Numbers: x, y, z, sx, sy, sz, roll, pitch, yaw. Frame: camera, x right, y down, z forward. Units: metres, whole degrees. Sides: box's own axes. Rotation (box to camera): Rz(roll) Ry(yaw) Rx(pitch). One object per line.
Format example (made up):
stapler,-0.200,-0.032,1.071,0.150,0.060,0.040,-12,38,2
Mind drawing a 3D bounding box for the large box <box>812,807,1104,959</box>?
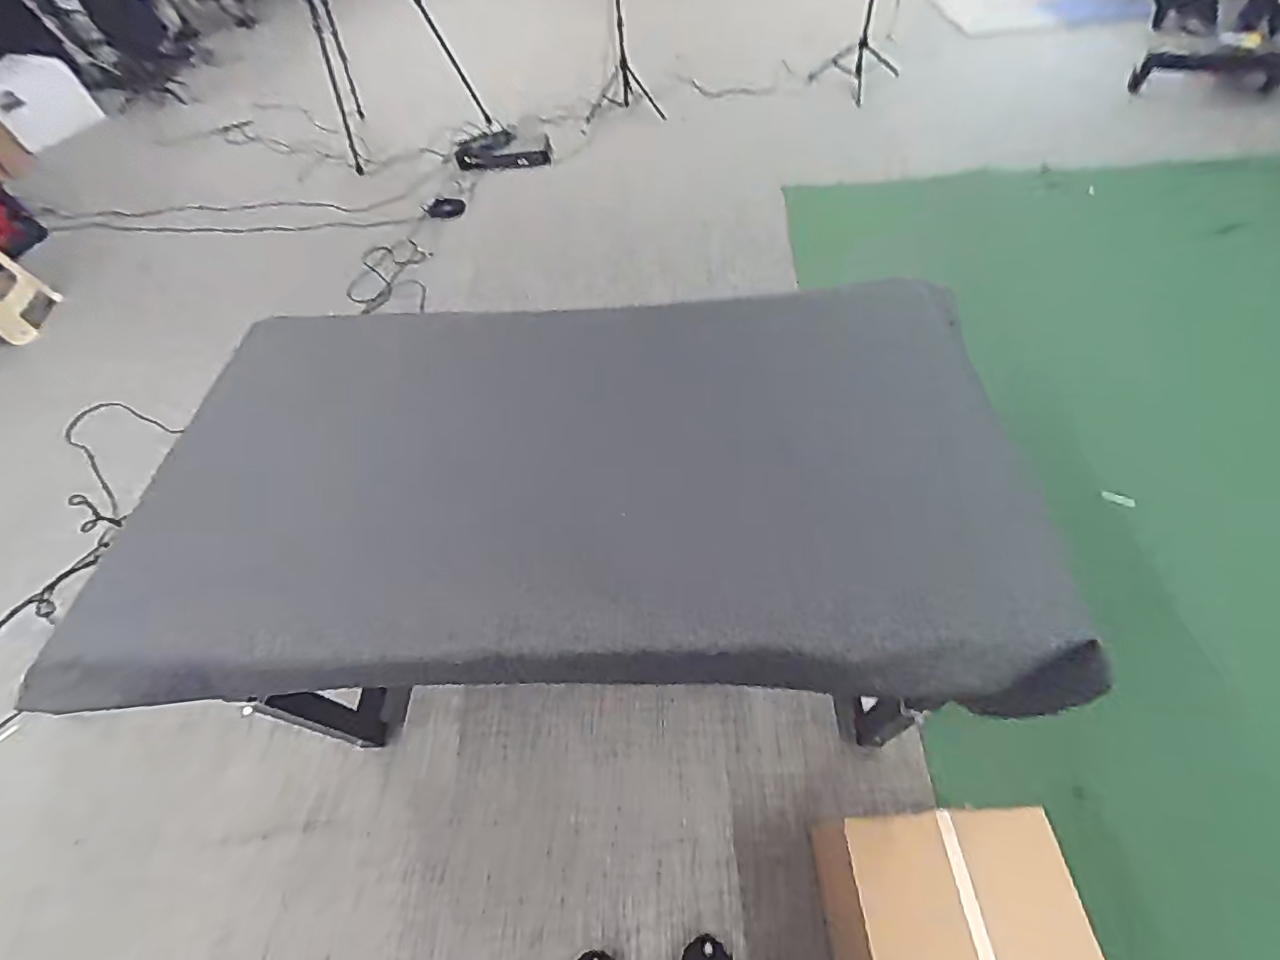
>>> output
large box,0.495,0.769,0.853,0.320,0.320,0.408,-5,55,3
